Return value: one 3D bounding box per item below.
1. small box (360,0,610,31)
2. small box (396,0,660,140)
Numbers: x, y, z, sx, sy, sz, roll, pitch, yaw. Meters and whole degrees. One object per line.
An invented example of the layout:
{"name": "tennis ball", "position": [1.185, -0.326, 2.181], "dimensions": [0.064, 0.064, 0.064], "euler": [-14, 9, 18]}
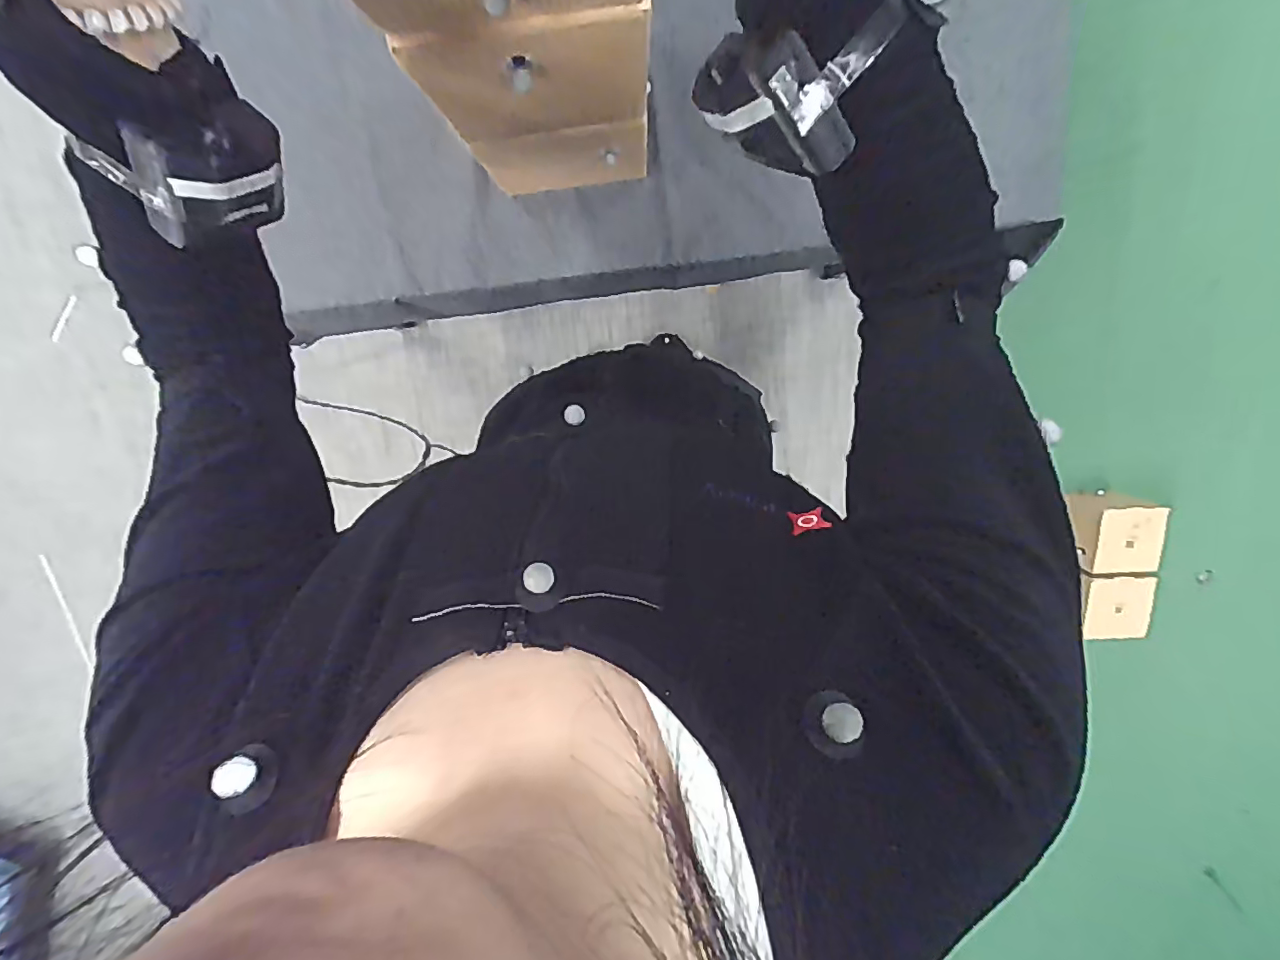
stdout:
{"name": "small box", "position": [-0.089, -0.356, 0.253], "dimensions": [0.179, 0.176, 0.168], "euler": [-5, 102, 1]}
{"name": "small box", "position": [-0.084, -0.390, 0.414], "dimensions": [0.179, 0.176, 0.168], "euler": [-8, 103, 2]}
